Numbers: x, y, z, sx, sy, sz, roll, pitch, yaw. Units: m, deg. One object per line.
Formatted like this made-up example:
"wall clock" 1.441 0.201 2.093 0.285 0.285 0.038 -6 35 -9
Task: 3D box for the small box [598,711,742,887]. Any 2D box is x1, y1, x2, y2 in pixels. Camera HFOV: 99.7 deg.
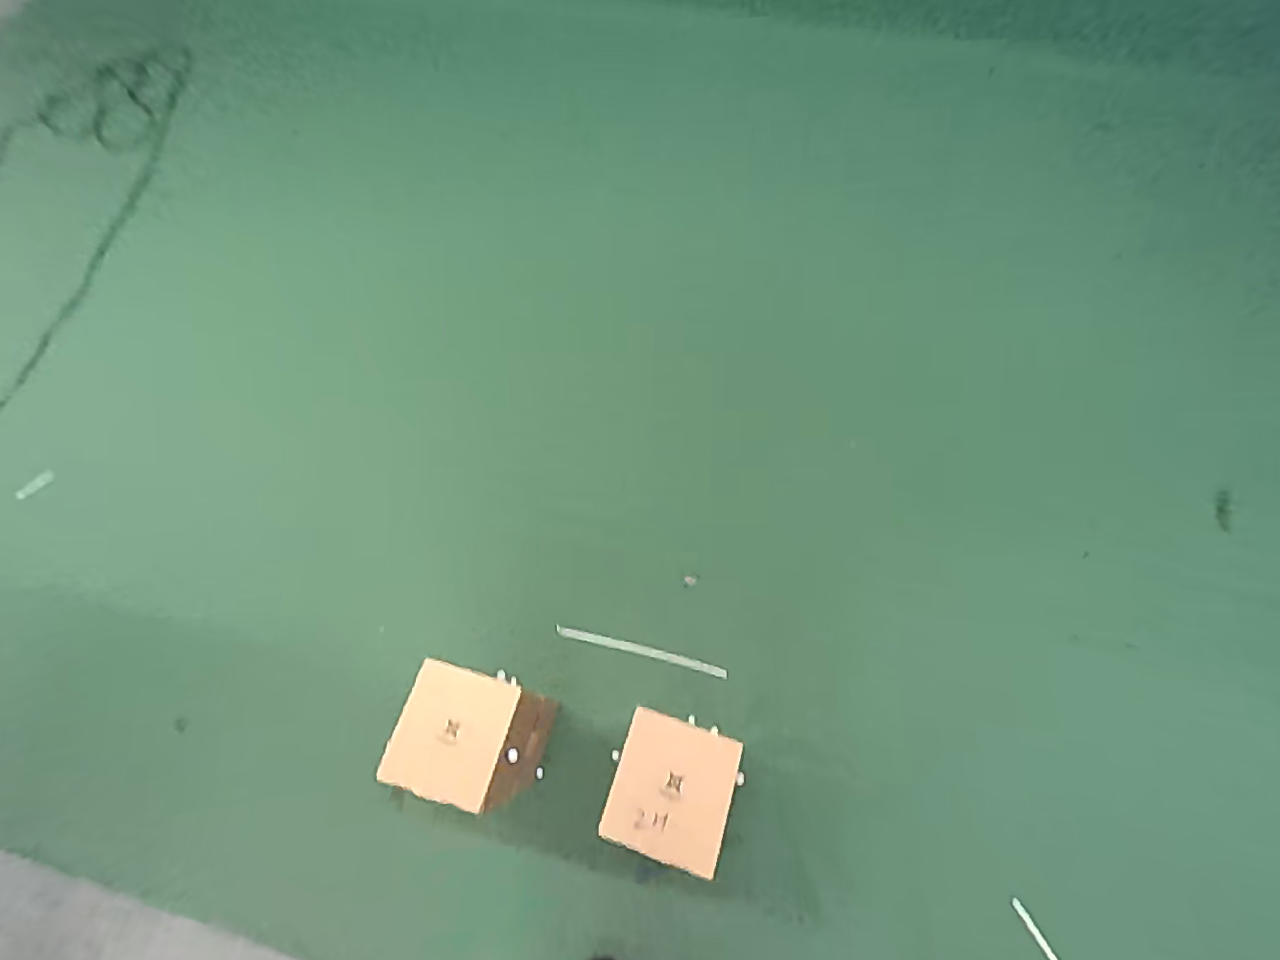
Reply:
"small box" 0.047 0.478 0.835 0.168 0.176 0.179 17 66 10

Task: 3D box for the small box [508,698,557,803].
"small box" -0.272 0.489 1.026 0.179 0.176 0.168 13 65 9

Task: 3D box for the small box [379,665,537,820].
"small box" -0.278 0.420 0.878 0.168 0.176 0.179 13 65 9
